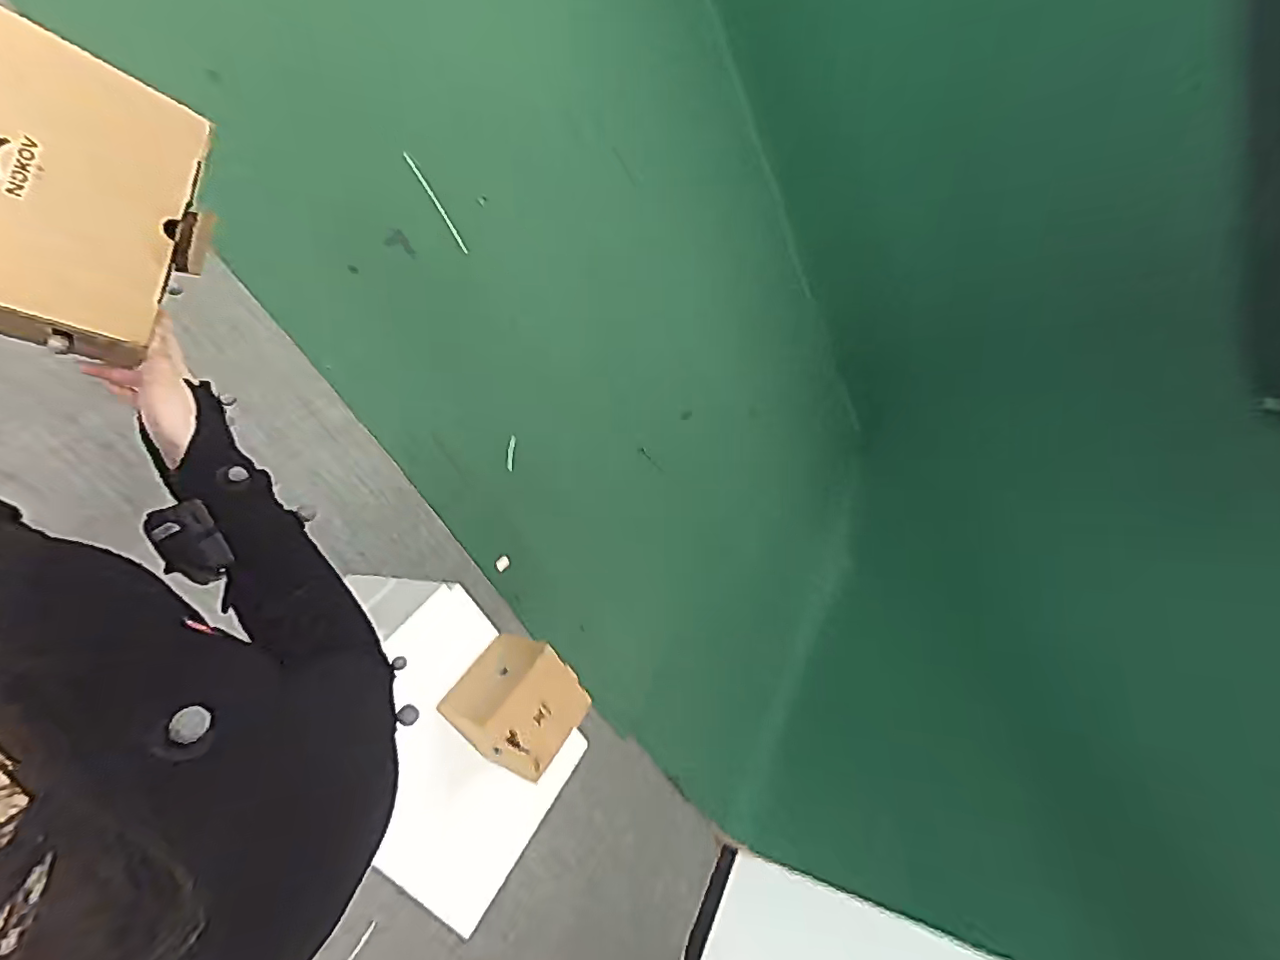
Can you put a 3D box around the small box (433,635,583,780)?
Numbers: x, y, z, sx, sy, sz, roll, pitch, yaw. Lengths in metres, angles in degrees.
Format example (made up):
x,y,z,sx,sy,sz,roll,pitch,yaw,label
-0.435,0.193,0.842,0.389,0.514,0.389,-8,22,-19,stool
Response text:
x,y,z,sx,sy,sz,roll,pitch,yaw,label
-0.245,0.412,1.011,0.179,0.176,0.168,-50,121,-38,small box

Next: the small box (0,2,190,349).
x,y,z,sx,sy,sz,roll,pitch,yaw,label
-0.434,-0.194,0.351,0.179,0.176,0.168,15,83,-47,small box
